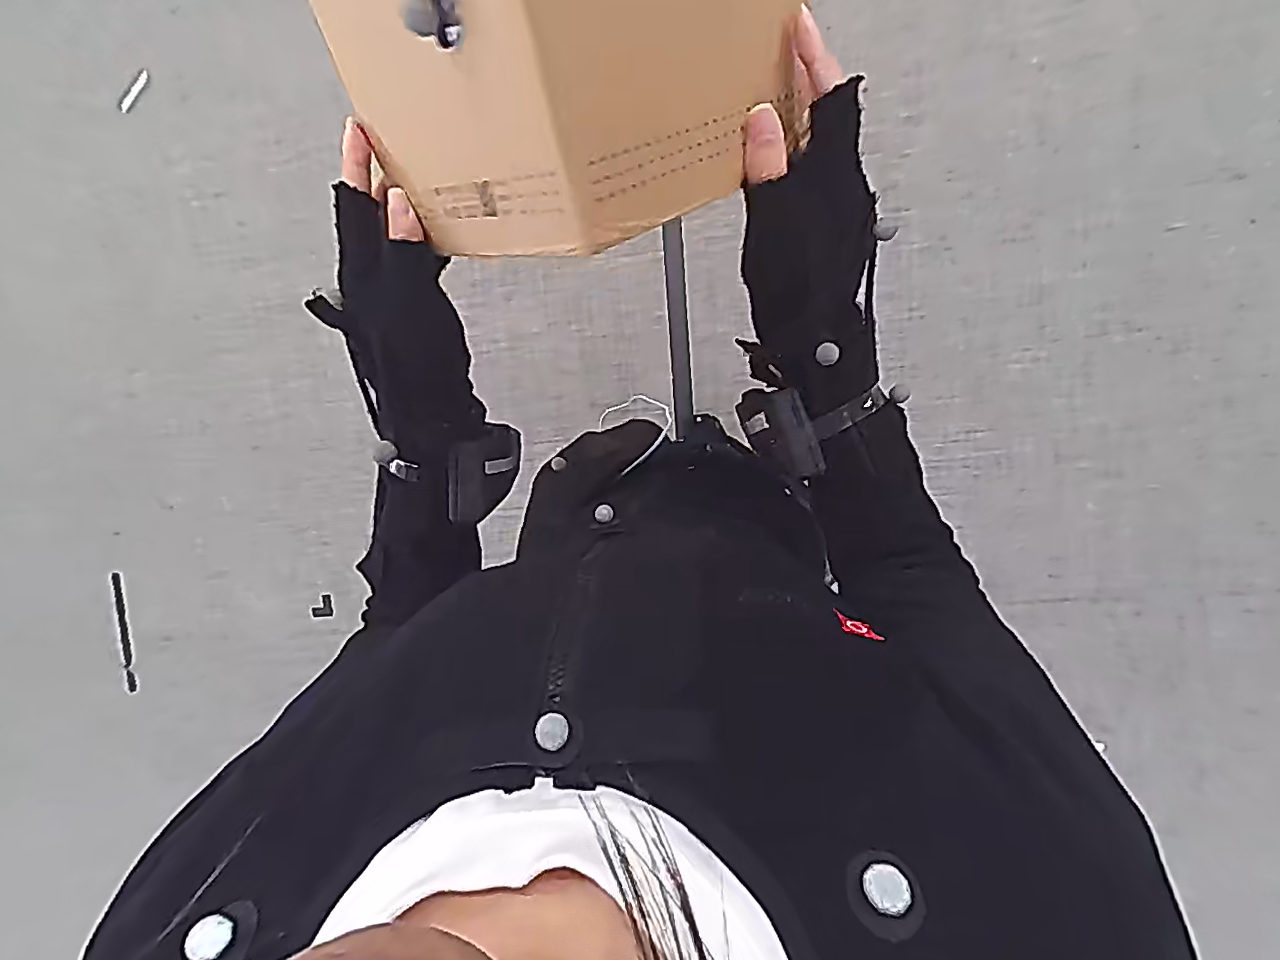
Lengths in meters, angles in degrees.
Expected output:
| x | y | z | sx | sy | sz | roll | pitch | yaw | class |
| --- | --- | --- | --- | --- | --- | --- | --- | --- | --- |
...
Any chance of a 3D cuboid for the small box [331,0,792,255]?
| x | y | z | sx | sy | sz | roll | pitch | yaw | class |
| --- | --- | --- | --- | --- | --- | --- | --- | --- | --- |
| -0.035 | -0.229 | 0.282 | 0.179 | 0.168 | 0.176 | -36 | 130 | -27 | small box |
